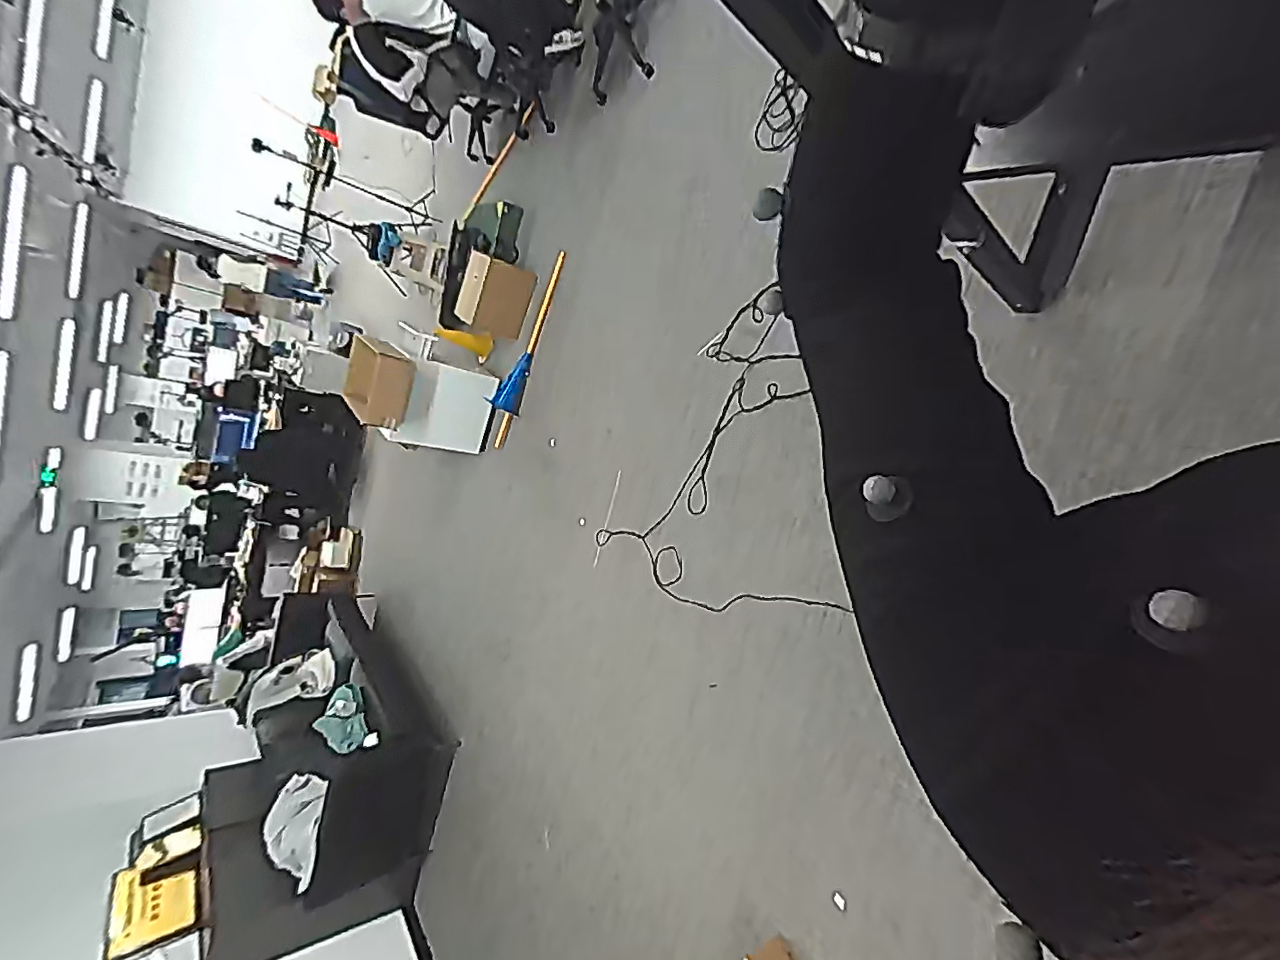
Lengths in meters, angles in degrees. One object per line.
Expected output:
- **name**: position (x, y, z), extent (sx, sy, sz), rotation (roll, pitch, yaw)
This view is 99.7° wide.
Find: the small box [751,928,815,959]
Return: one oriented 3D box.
- **small box**: position (0.413, 1.470, 1.571), extent (0.168, 0.176, 0.179), rotation (35, 109, 45)
